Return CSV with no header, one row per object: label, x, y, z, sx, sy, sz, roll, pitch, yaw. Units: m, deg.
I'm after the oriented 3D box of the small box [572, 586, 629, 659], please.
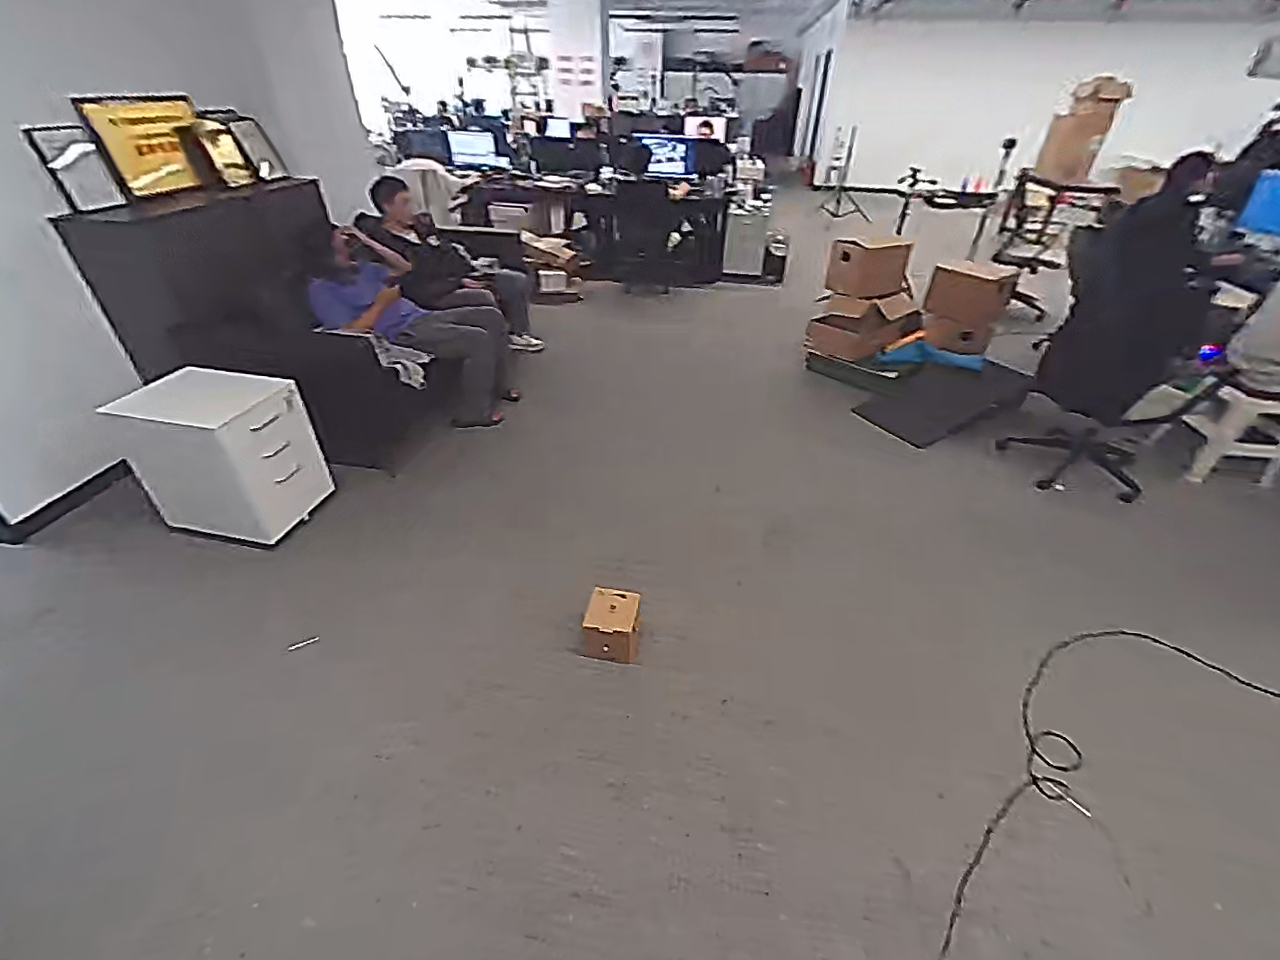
small box,-0.131,0.497,1.883,0.168,0.176,0.179,5,36,6
